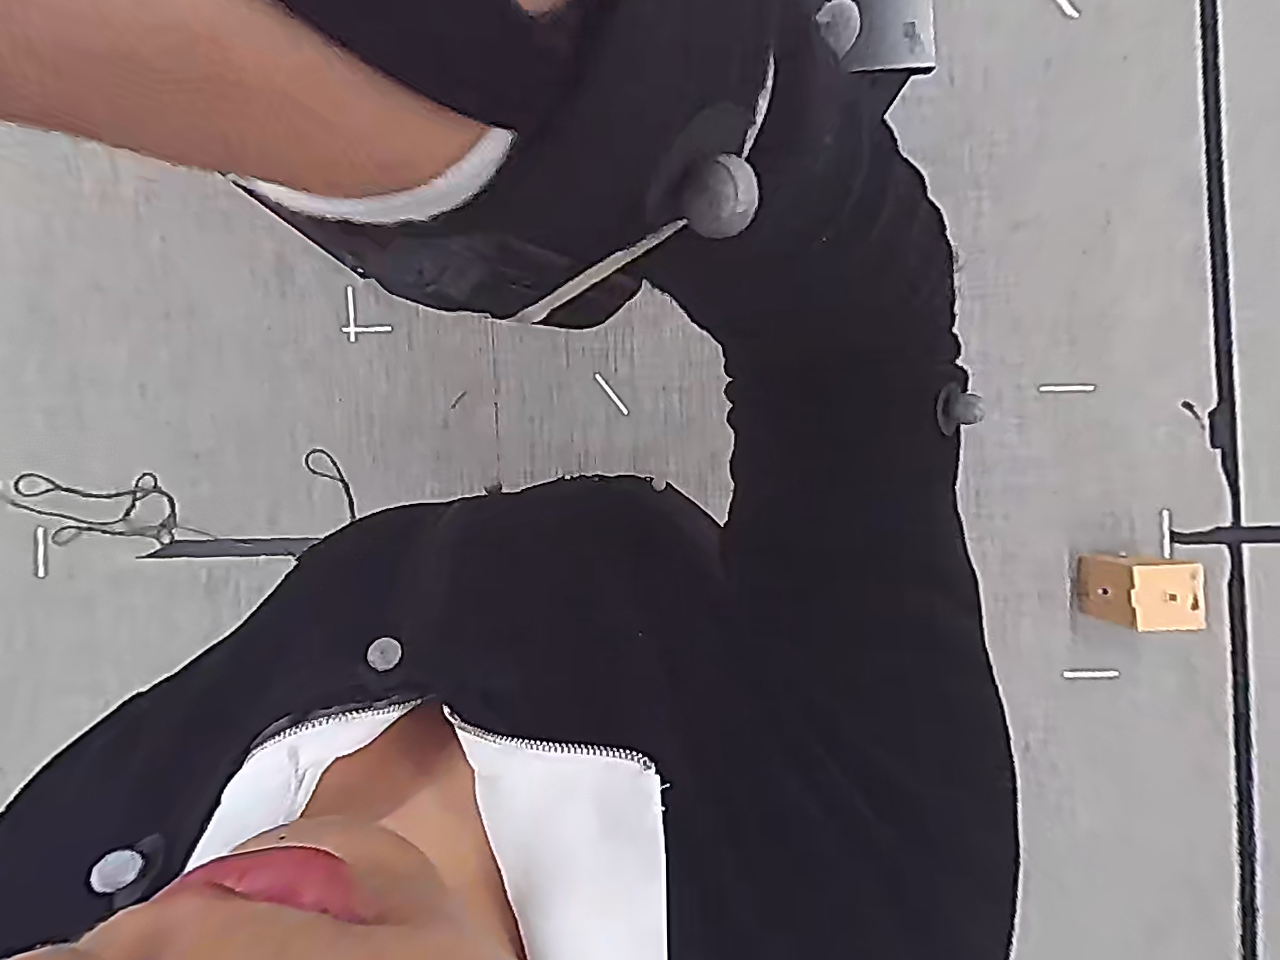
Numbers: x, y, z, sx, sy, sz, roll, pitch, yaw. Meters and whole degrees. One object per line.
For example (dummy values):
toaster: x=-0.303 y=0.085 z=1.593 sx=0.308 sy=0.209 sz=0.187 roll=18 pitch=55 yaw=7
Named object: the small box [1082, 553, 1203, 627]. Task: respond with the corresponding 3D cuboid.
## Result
small box: x=1.312 y=0.286 z=1.426 sx=0.179 sy=0.176 sz=0.168 roll=-2 pitch=90 yaw=1
